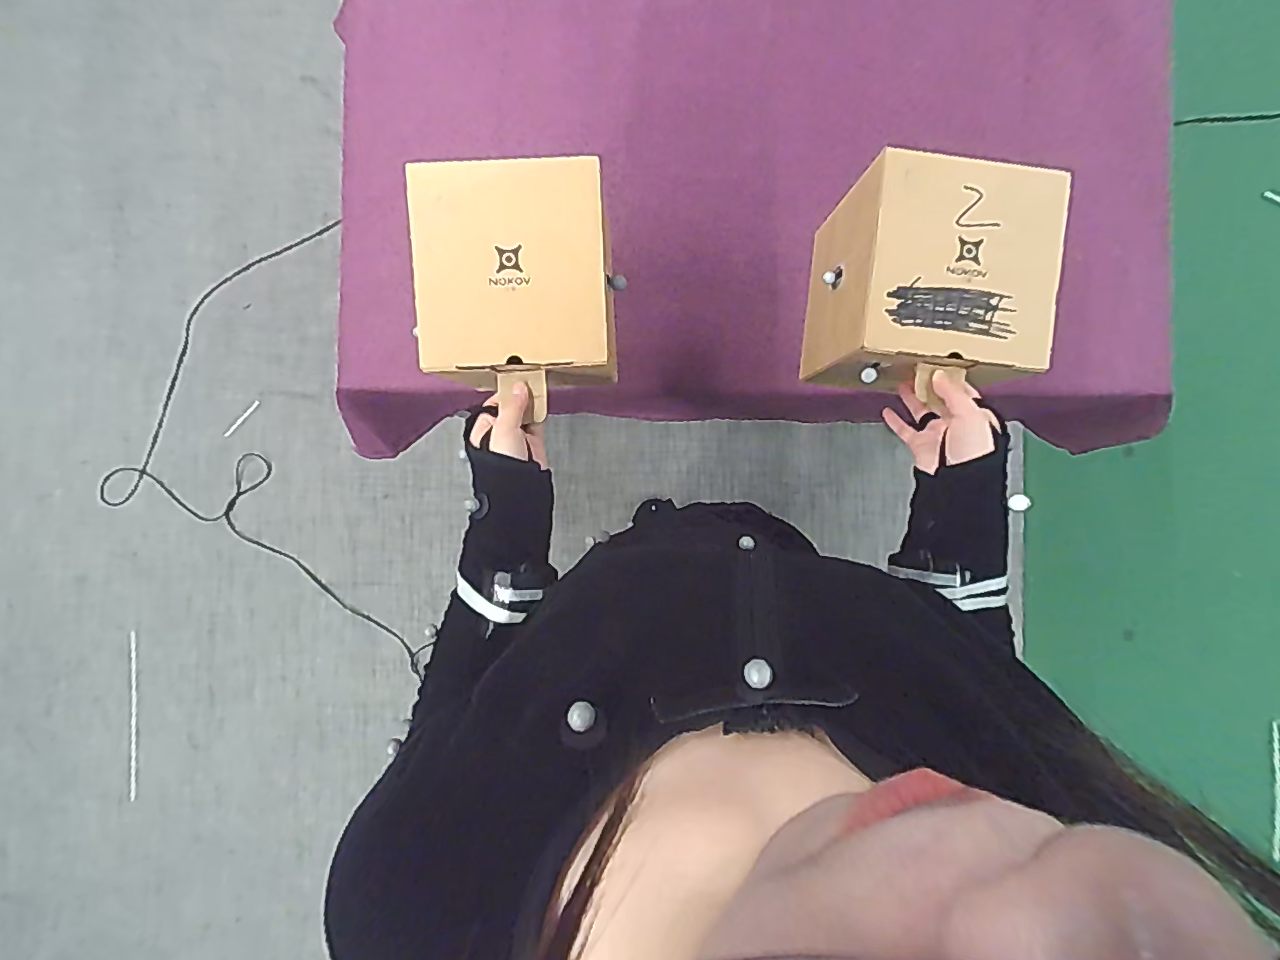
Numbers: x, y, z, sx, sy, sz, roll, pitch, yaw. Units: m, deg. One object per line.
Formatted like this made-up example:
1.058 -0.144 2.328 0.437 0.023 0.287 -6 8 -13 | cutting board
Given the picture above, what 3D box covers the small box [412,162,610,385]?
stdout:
-0.117 -0.196 0.557 0.168 0.176 0.179 -2 95 0 | small box
